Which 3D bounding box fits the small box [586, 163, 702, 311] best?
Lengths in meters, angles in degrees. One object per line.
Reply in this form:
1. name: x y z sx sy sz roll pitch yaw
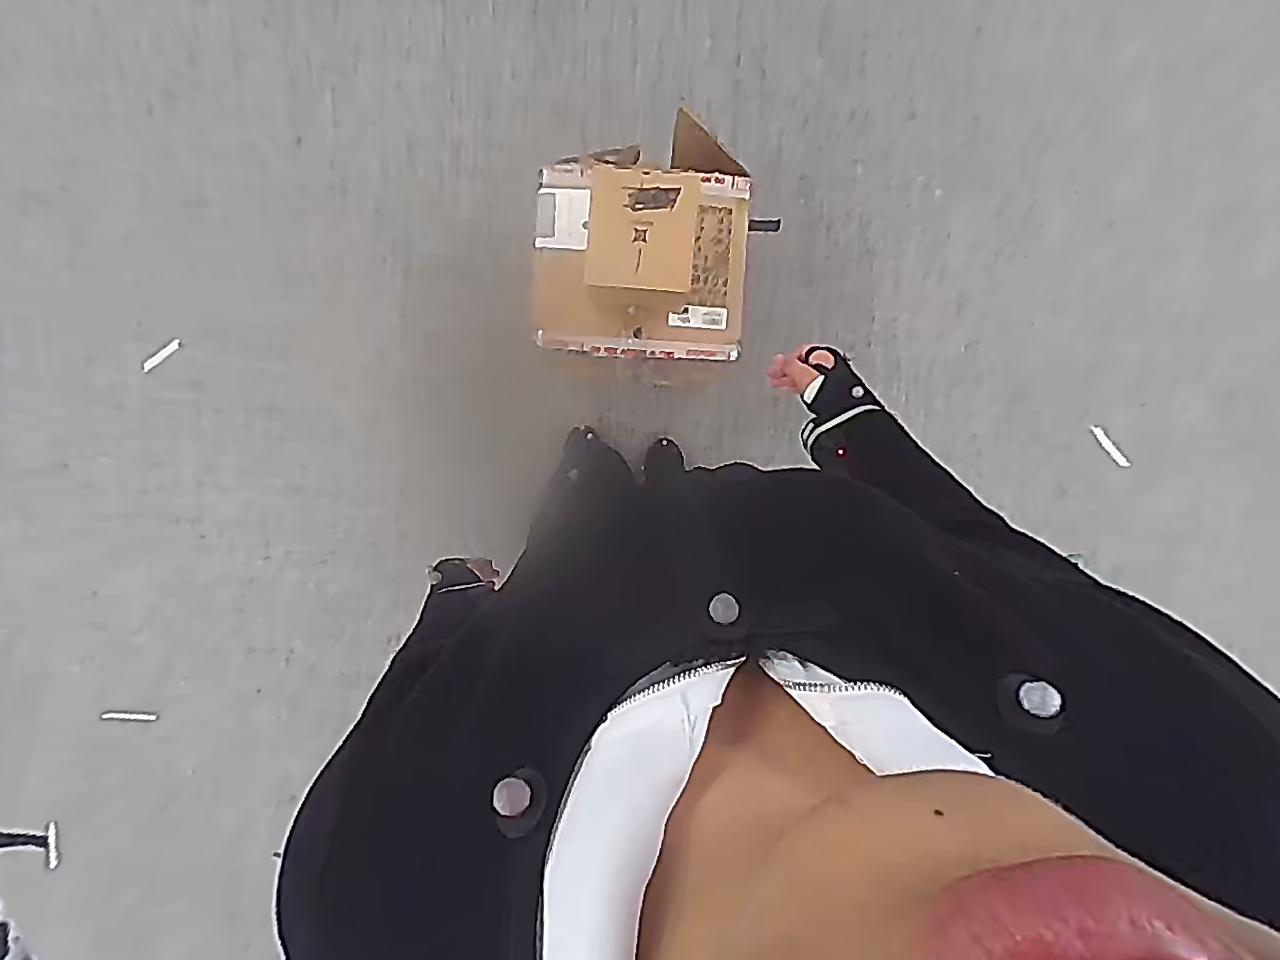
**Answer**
1. small box: 0.004 -0.393 0.901 0.168 0.176 0.179 5 97 -1
